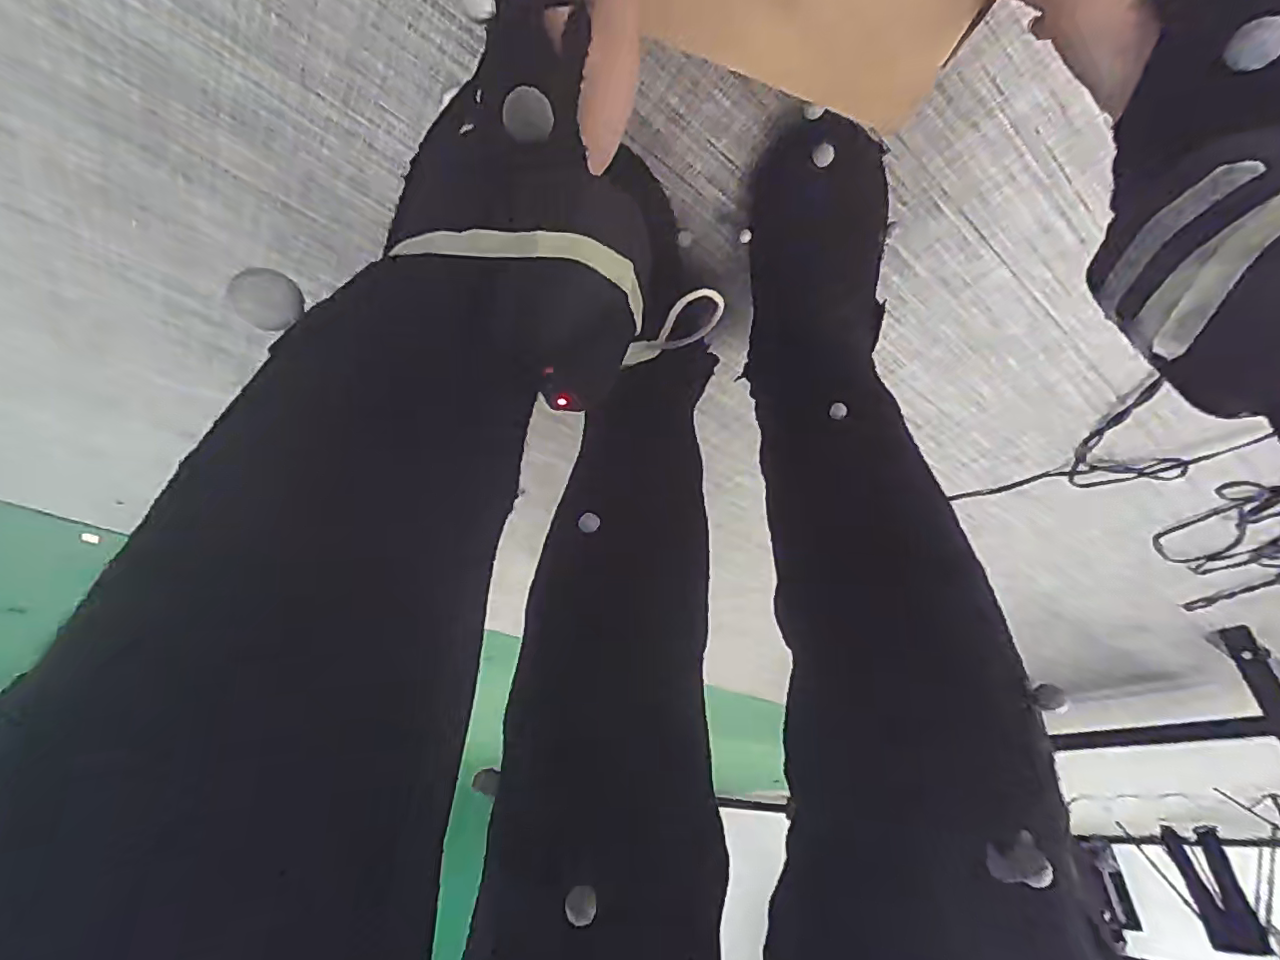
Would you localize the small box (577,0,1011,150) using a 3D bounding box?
[{"bbox_3d":[0.081,-0.293,0.239,0.179,0.176,0.168,11,145,-13],"label":"small box"}]
